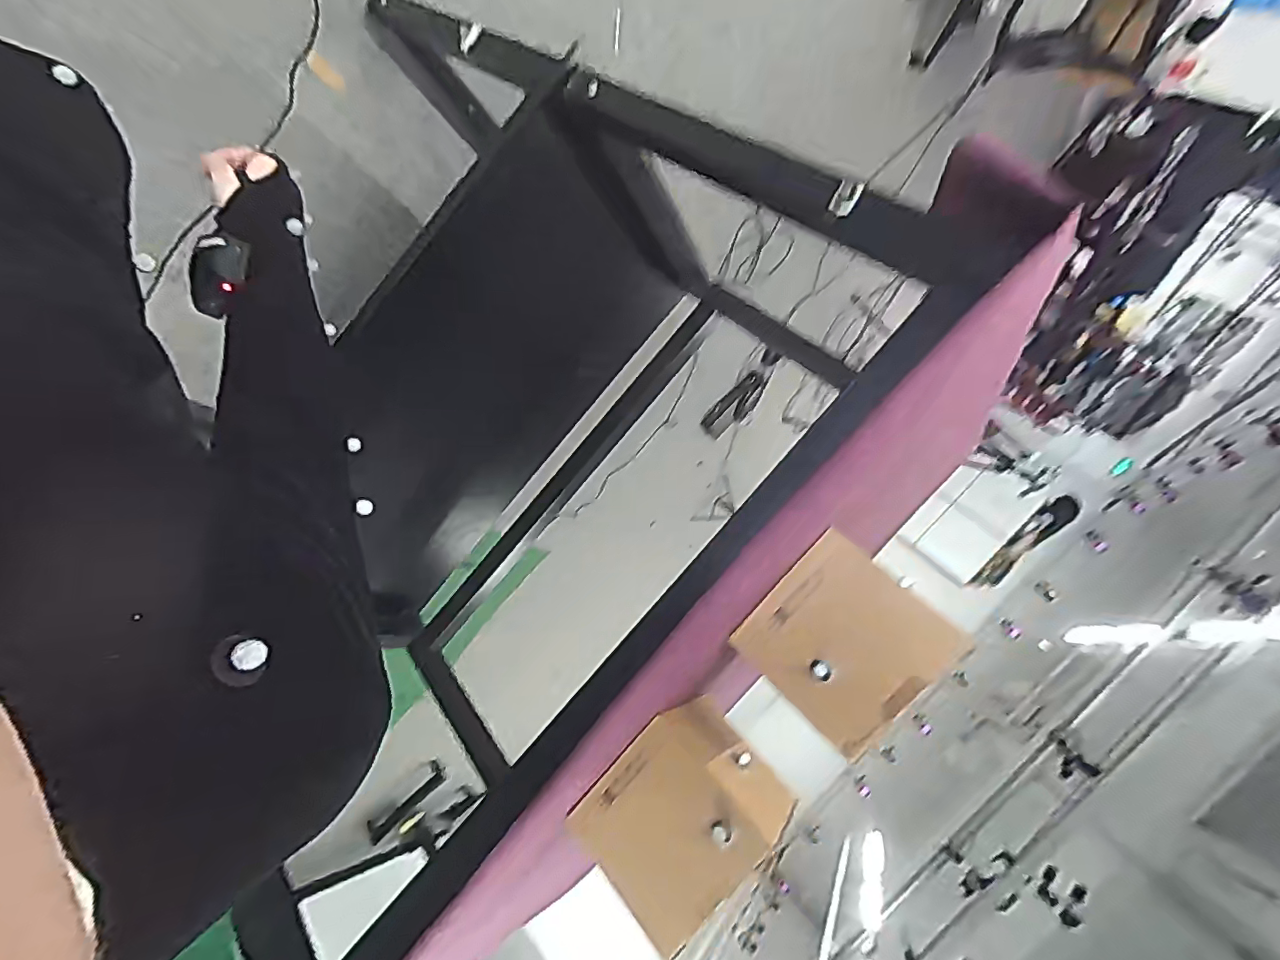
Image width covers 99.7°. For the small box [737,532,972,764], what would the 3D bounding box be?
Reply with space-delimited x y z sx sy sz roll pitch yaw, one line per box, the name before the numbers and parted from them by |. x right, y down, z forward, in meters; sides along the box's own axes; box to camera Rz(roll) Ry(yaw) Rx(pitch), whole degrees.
small box | 0.232 0.180 0.615 0.168 0.176 0.179 -48 154 3
